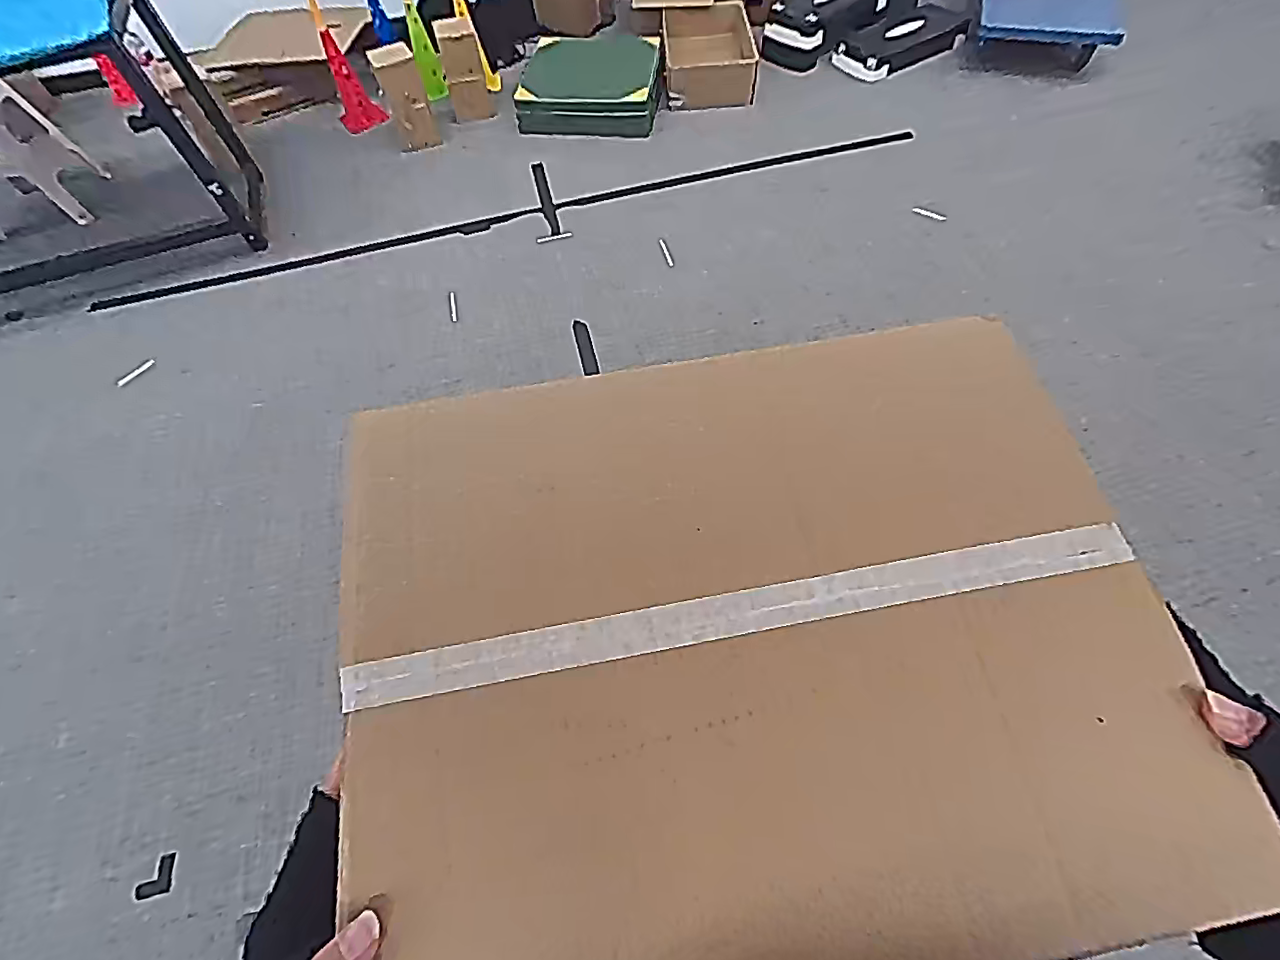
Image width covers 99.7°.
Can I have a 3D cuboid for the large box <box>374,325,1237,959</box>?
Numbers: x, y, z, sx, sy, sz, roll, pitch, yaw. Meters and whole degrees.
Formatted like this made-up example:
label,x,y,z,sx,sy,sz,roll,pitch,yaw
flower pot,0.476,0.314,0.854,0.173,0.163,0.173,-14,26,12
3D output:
label,x,y,z,sx,sy,sz,roll,pitch,yaw
large box,0.057,0.127,0.431,0.408,0.320,0.320,-10,68,-3
